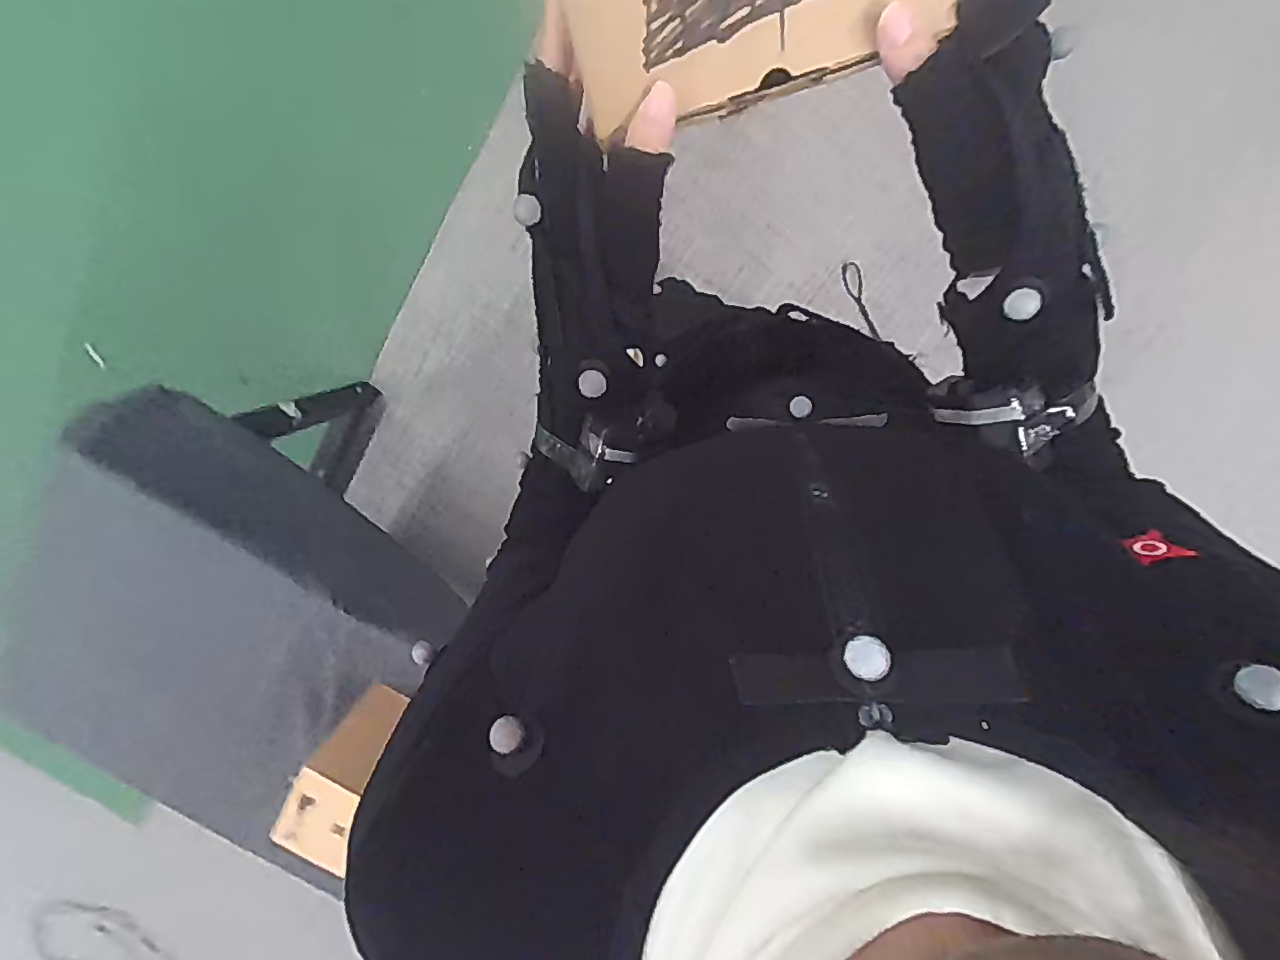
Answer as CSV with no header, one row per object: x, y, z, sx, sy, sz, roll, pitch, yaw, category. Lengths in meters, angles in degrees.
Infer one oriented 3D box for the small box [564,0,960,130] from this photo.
0.039,-0.293,0.266,0.168,0.176,0.179,-12,119,7,small box

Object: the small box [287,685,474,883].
-0.379,0.446,0.814,0.179,0.176,0.168,28,112,-2,small box
